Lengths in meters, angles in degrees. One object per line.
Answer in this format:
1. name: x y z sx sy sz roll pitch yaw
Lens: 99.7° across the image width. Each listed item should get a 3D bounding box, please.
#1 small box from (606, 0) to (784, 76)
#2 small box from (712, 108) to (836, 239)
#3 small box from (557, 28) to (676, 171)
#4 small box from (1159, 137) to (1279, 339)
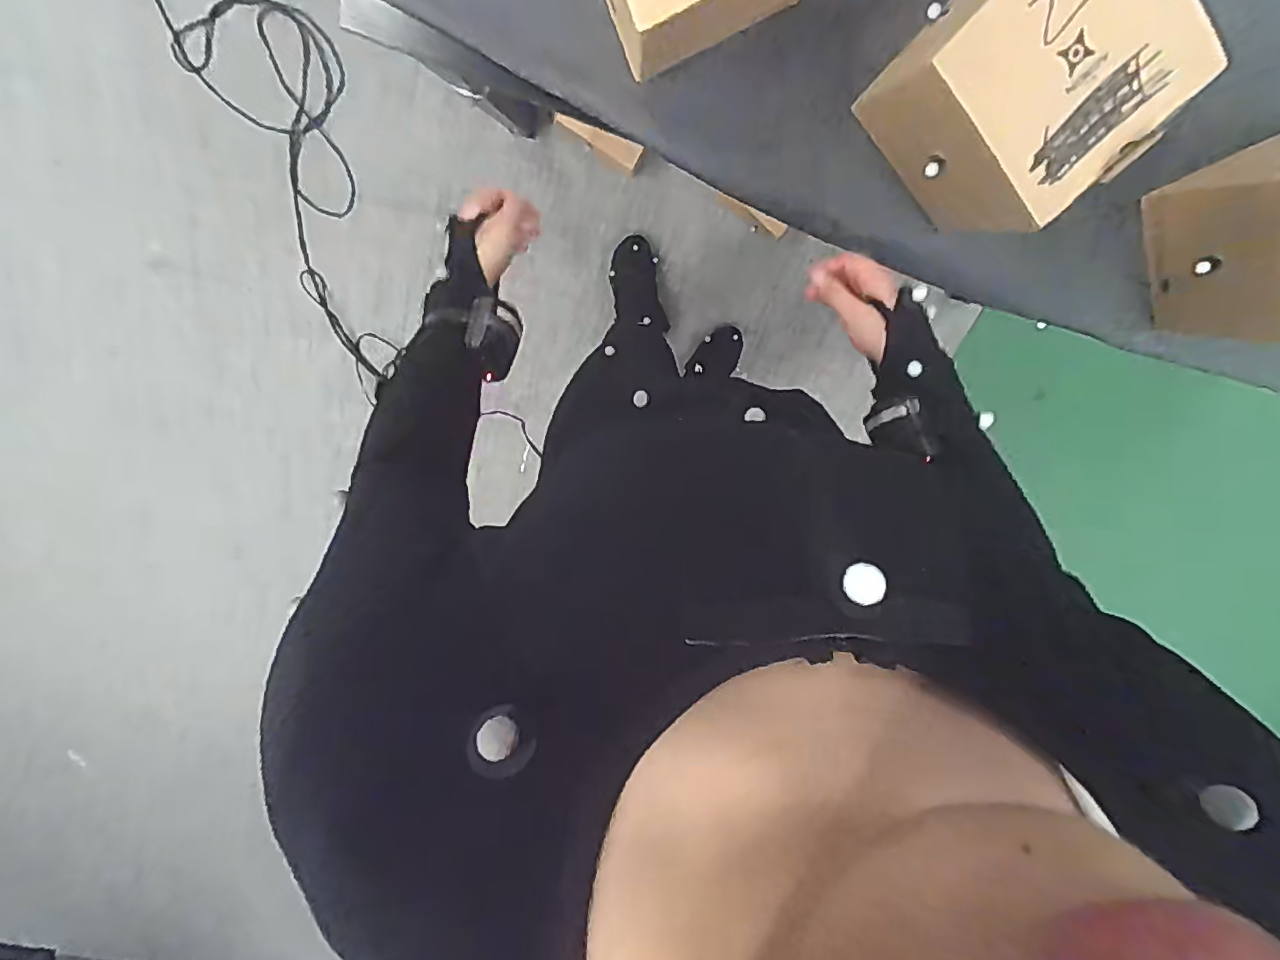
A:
1. small box: 0.041 -0.466 0.431 0.179 0.176 0.168 -22 114 9
2. small box: 0.276 -0.644 1.156 0.179 0.176 0.168 36 109 -15
3. small box: -0.047 -0.755 1.100 0.179 0.176 0.168 27 112 -14
4. small box: 0.672 -0.250 0.538 0.179 0.176 0.168 -24 111 10
